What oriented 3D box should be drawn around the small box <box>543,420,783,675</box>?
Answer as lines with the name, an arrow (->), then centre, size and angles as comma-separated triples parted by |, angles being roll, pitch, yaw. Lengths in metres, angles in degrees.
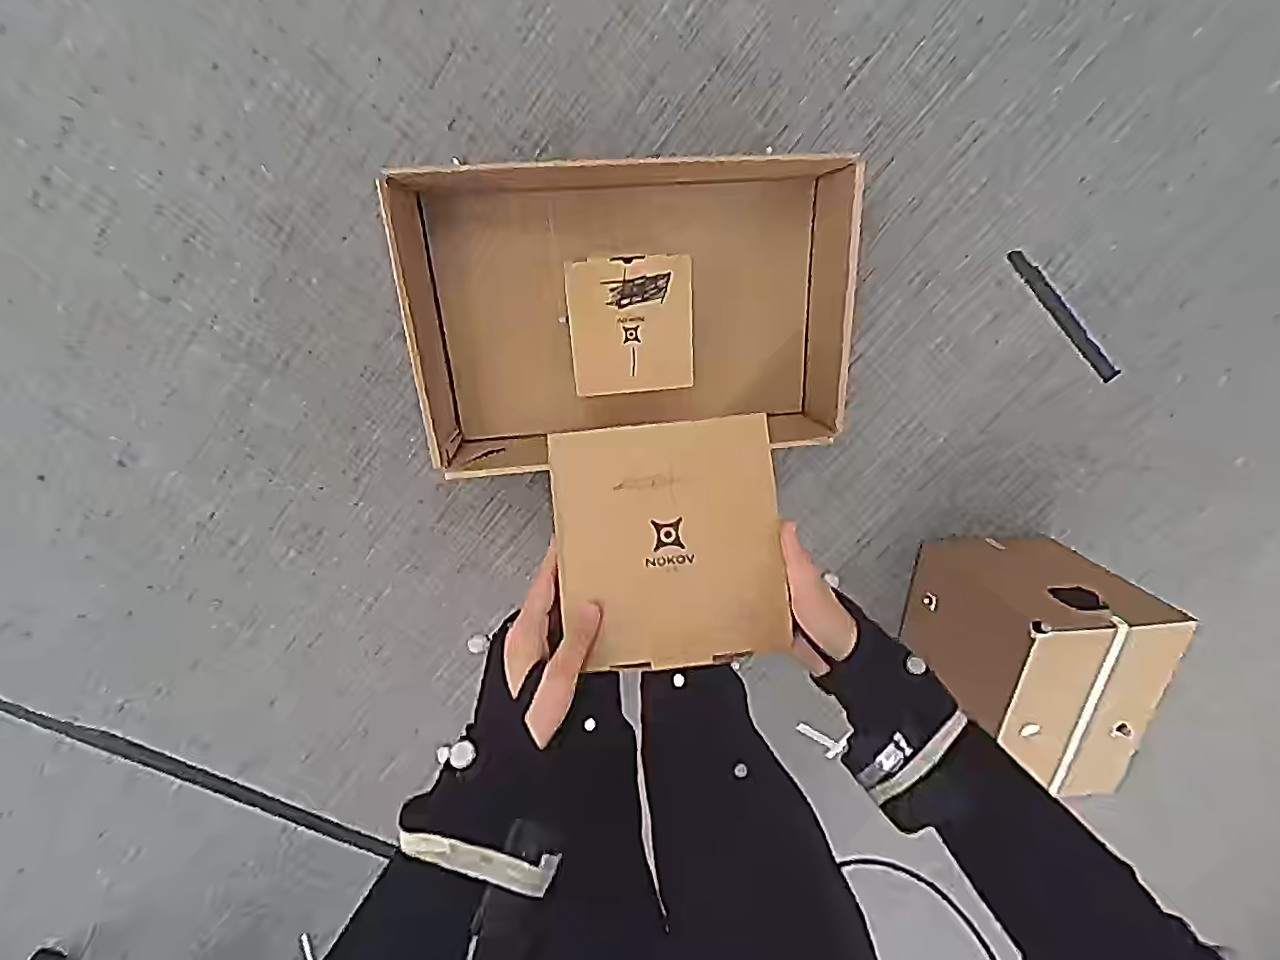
small box -> 0.016, 0.055, 0.478 | 0.168, 0.176, 0.179 | -6, 84, -2

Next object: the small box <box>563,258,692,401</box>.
small box -> -0.023, -0.224, 0.790 | 0.168, 0.176, 0.179 | -6, 113, -5
